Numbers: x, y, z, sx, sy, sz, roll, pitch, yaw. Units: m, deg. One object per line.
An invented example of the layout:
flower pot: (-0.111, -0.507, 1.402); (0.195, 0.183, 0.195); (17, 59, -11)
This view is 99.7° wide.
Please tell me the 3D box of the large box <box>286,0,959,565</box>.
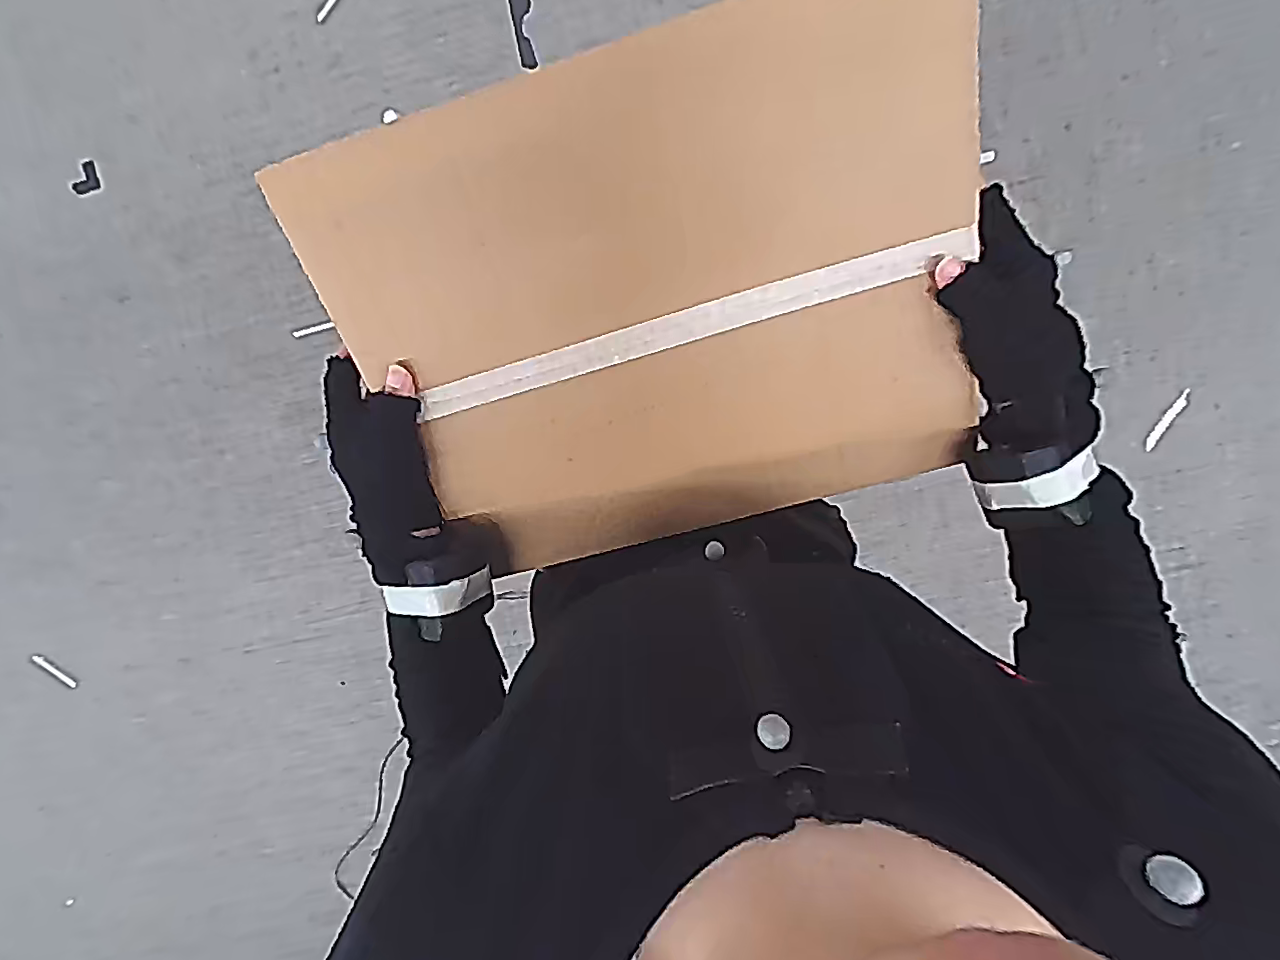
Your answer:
large box: (0.009, -0.174, 0.503); (0.408, 0.320, 0.320); (-15, 118, 7)
